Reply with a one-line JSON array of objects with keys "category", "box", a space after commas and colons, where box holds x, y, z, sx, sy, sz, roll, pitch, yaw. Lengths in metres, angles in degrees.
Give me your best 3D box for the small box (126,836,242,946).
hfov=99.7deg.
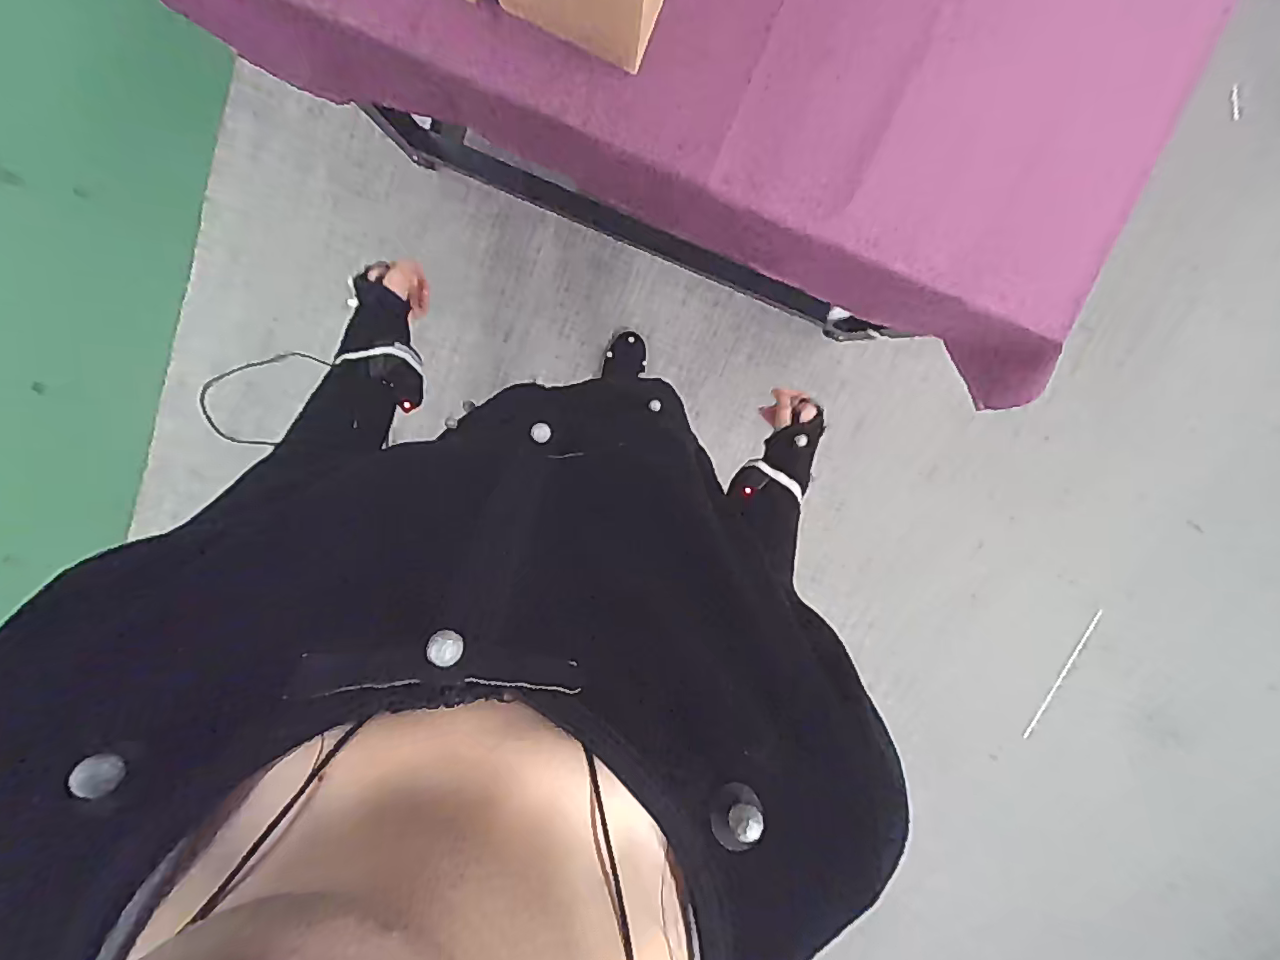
[{"category": "small box", "box": [-1.270, 1.147, 1.520, 0.179, 0.176, 0.168, 20, 99, -8]}]
